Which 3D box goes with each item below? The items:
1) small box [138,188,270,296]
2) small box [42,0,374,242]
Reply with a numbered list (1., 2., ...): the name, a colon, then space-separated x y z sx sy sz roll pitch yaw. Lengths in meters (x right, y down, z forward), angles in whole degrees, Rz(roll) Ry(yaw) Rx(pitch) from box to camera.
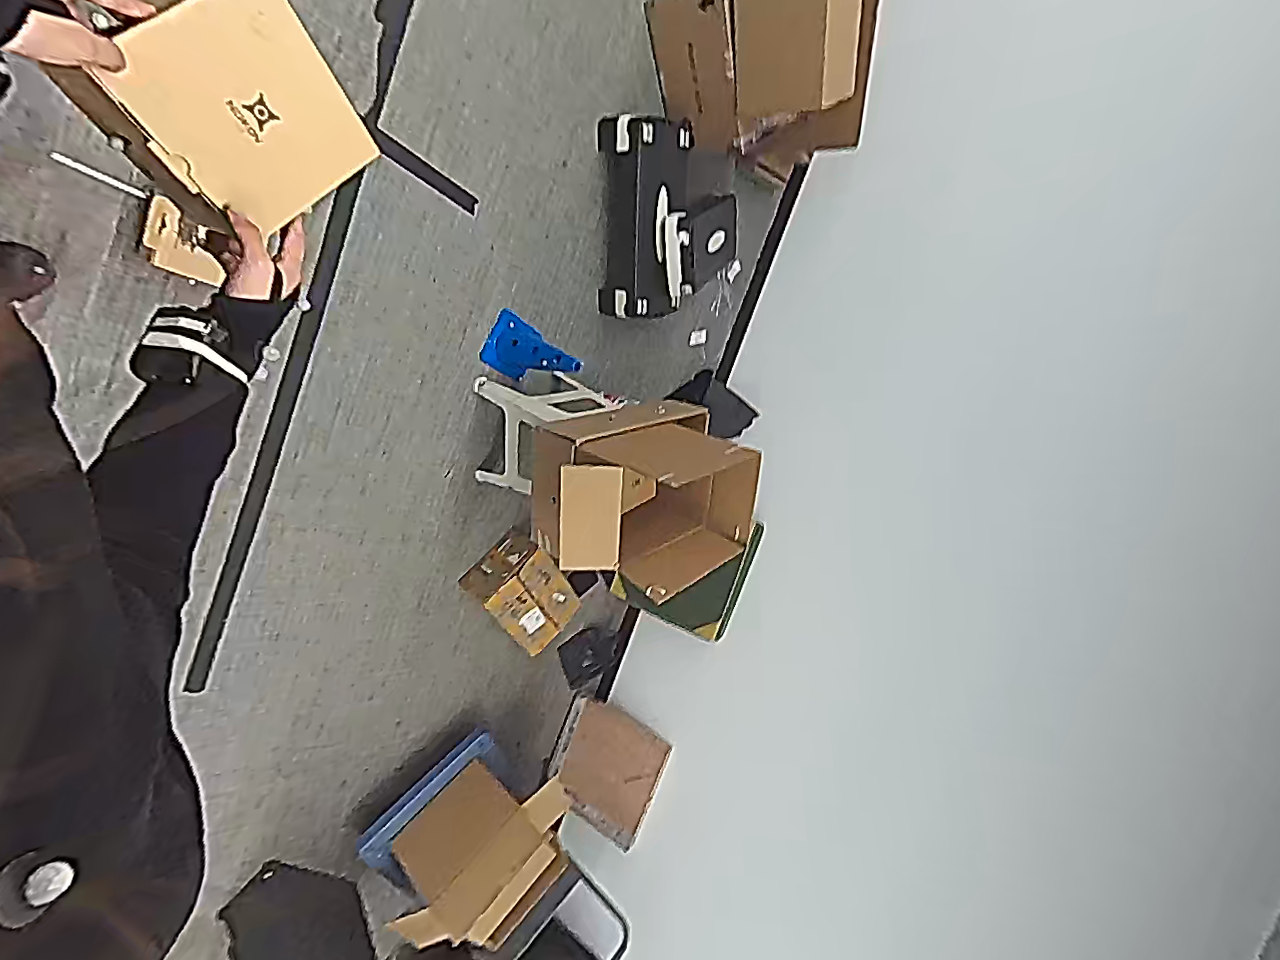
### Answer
1. small box: -0.941 -0.516 1.164 0.179 0.176 0.168 12 100 -53
2. small box: -0.420 -0.374 0.537 0.179 0.176 0.168 -52 150 -18
